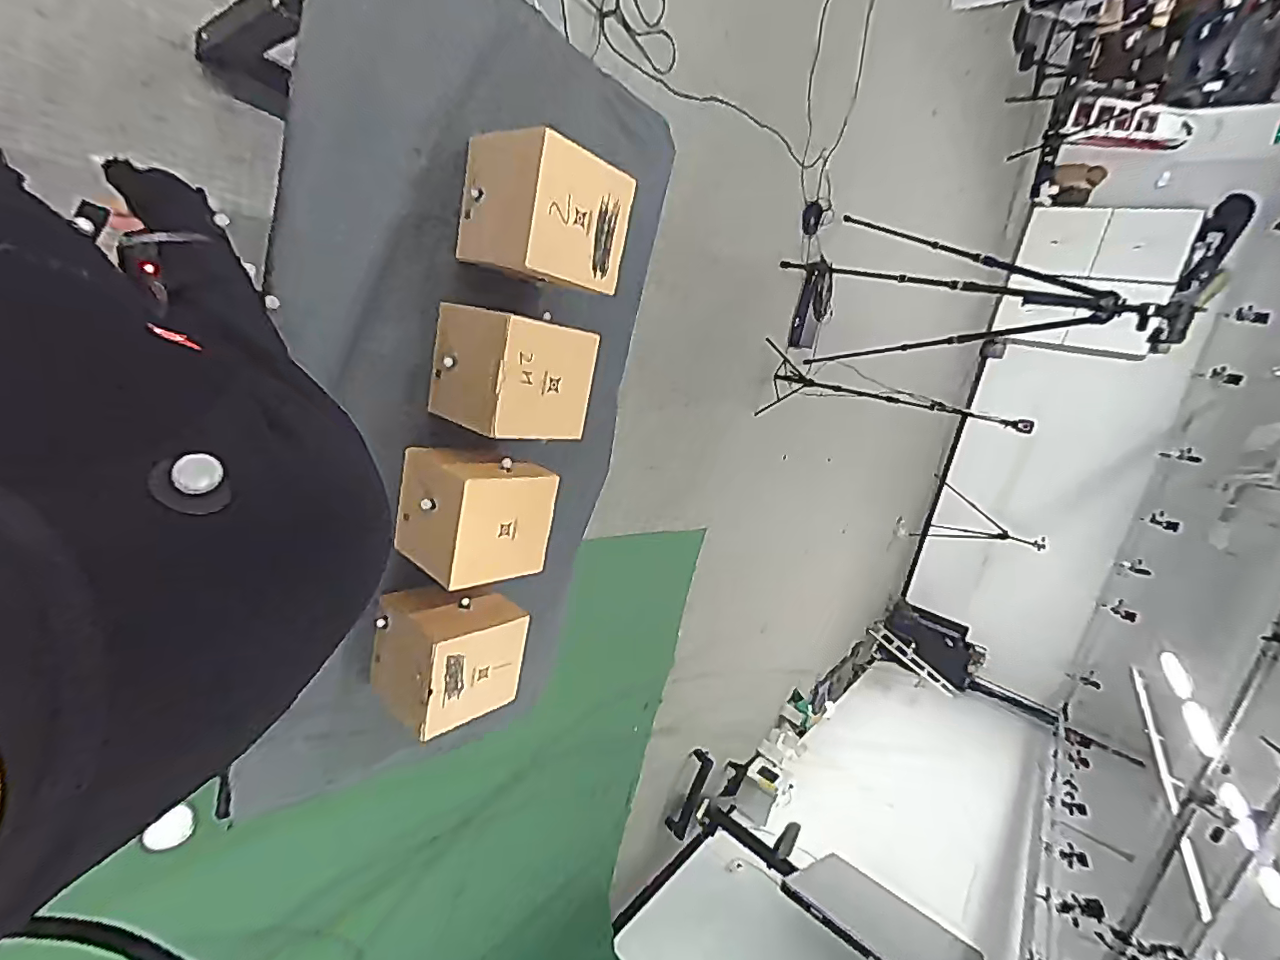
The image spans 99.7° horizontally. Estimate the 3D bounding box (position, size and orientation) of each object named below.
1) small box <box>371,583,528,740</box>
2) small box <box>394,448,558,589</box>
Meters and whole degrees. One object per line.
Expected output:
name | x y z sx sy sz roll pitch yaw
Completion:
small box | -0.317 0.281 0.892 0.179 0.176 0.168 -4 111 -52
small box | -0.260 0.051 0.850 0.179 0.176 0.168 -4 110 -52
